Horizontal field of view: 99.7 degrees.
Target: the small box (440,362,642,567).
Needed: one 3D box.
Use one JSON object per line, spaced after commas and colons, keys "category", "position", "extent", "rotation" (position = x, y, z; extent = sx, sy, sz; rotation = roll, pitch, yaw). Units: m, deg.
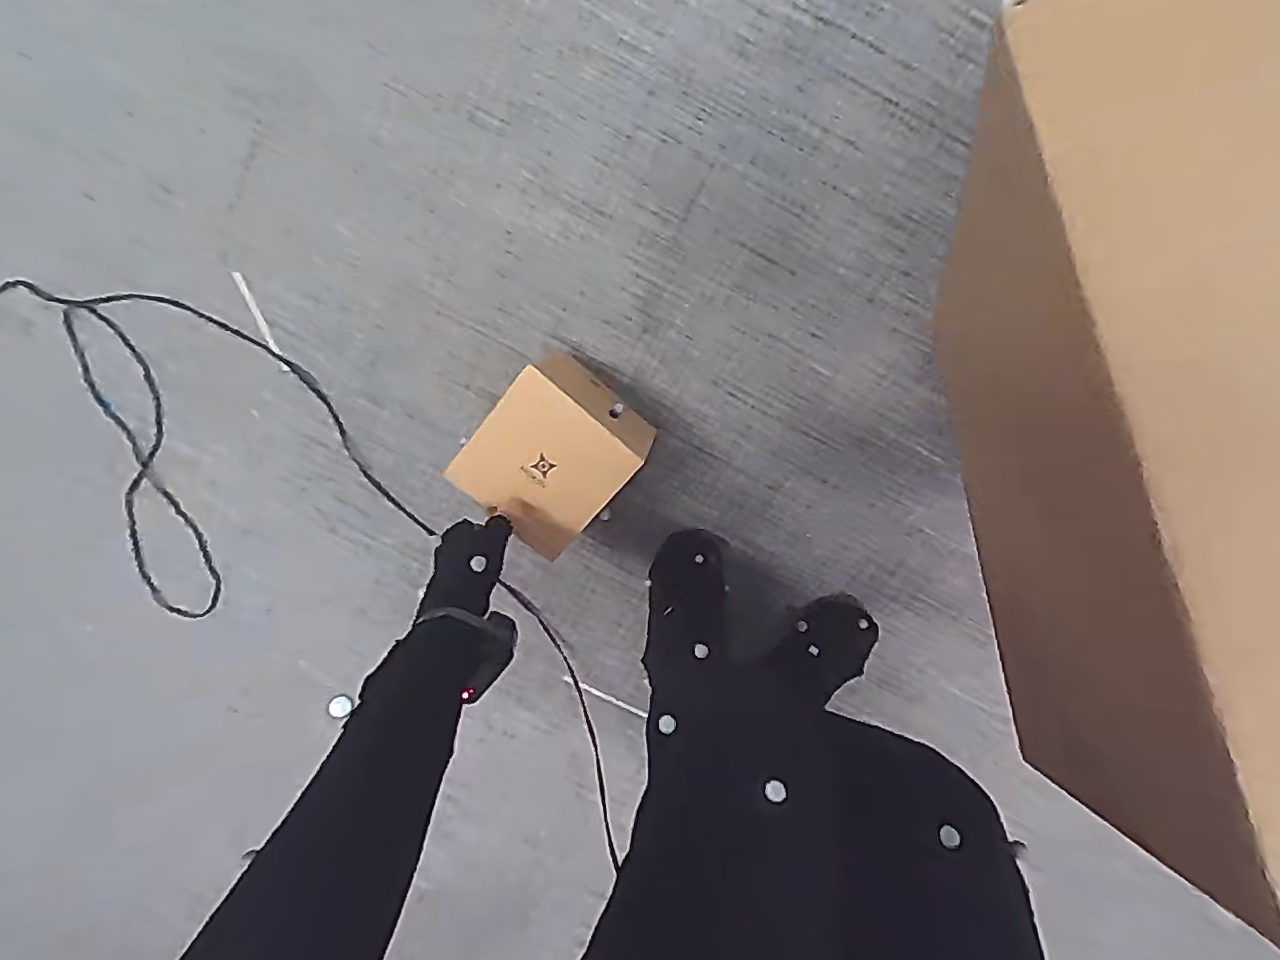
{"category": "small box", "position": [-0.112, -0.030, 0.691], "extent": [0.168, 0.176, 0.179], "rotation": [40, 109, -7]}
